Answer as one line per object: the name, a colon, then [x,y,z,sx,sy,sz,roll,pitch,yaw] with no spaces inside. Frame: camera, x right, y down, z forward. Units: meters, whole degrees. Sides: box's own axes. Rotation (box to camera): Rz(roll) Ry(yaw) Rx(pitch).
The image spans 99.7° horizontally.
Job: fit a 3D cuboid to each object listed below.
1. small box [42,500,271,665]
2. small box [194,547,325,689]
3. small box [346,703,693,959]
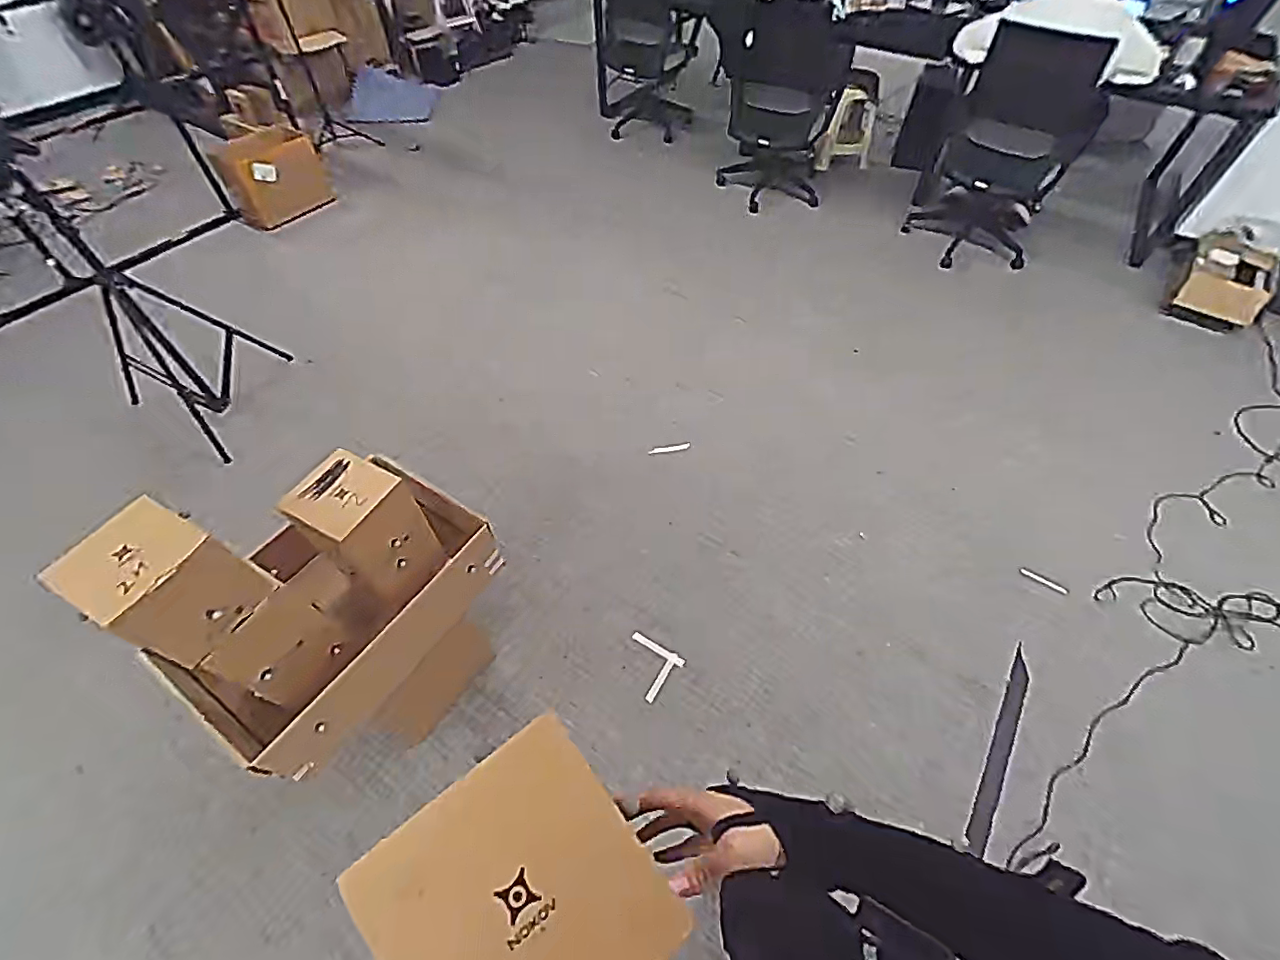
small box: [-0.747,0.166,0.856,0.179,0.176,0.168,22,57,18]
small box: [-0.730,0.259,0.992,0.179,0.176,0.168,24,57,19]
small box: [-0.091,0.307,0.425,0.168,0.176,0.179,-32,74,-23]
